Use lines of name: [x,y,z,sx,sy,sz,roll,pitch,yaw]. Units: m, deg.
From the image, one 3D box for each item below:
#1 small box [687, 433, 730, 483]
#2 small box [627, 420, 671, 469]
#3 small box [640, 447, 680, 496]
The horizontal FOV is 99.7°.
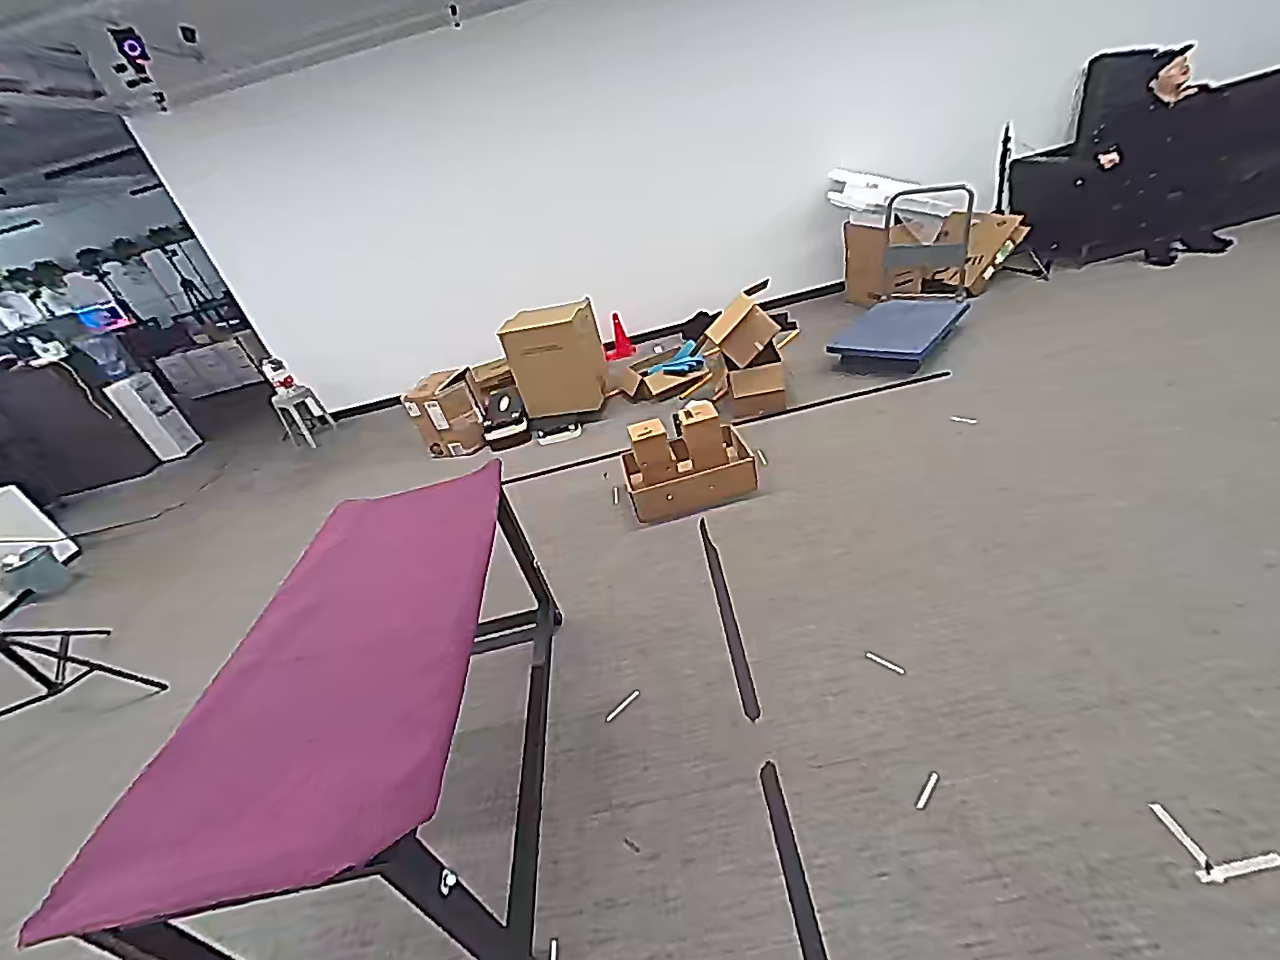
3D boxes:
small box: [0.347,-0.110,2.746,0.168,0.176,0.179,-17,32,0]
small box: [0.046,-0.169,2.651,0.168,0.176,0.179,-16,30,-3]
small box: [0.097,-0.041,2.743,0.179,0.176,0.168,-16,31,-3]
